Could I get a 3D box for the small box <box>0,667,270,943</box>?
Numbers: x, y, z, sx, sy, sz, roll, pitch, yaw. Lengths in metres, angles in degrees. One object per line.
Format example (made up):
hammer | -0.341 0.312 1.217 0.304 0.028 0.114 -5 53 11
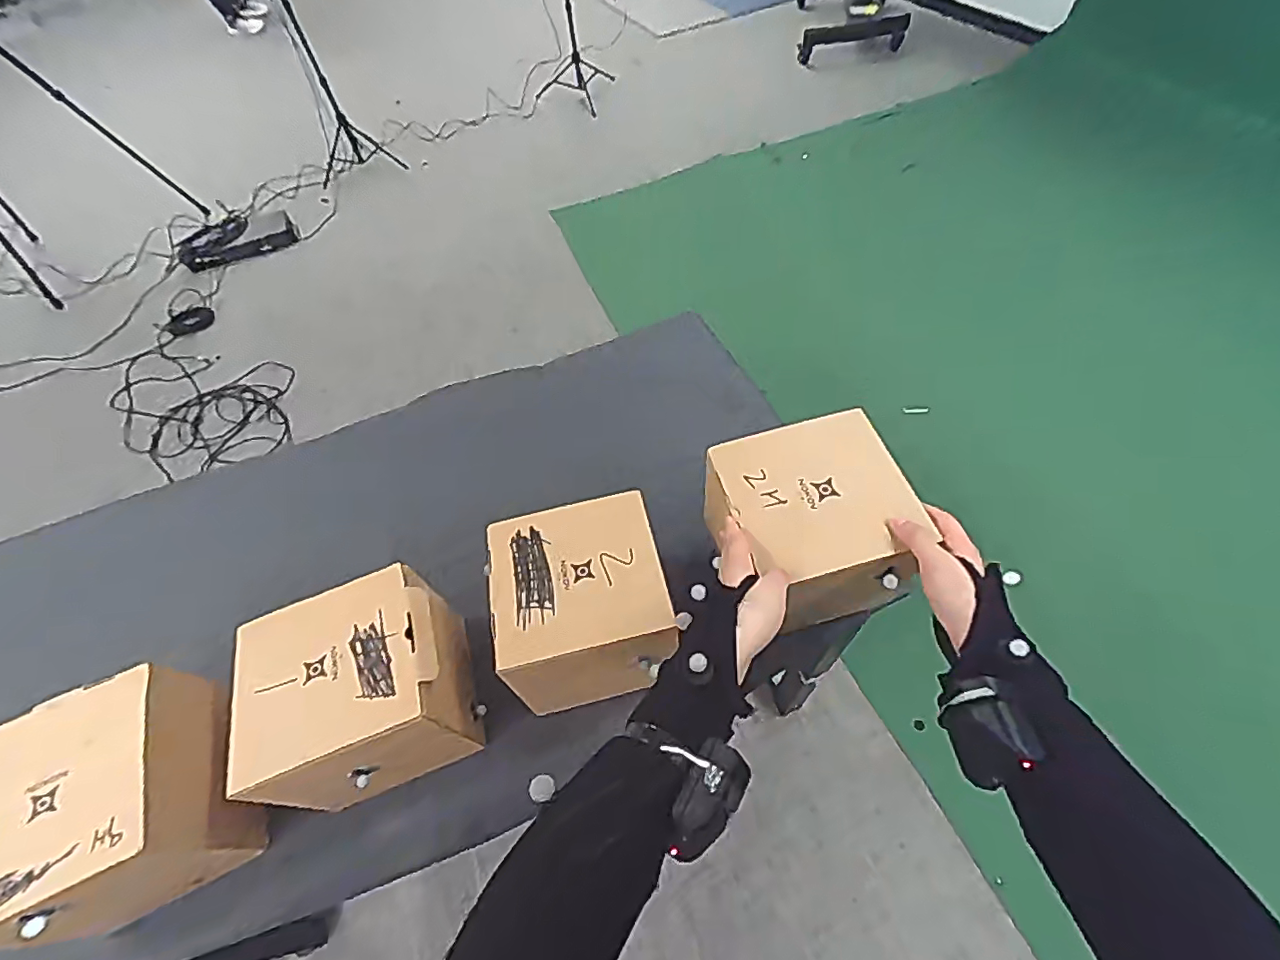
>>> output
small box | -0.505 0.322 0.539 0.168 0.176 0.179 -24 57 -9
